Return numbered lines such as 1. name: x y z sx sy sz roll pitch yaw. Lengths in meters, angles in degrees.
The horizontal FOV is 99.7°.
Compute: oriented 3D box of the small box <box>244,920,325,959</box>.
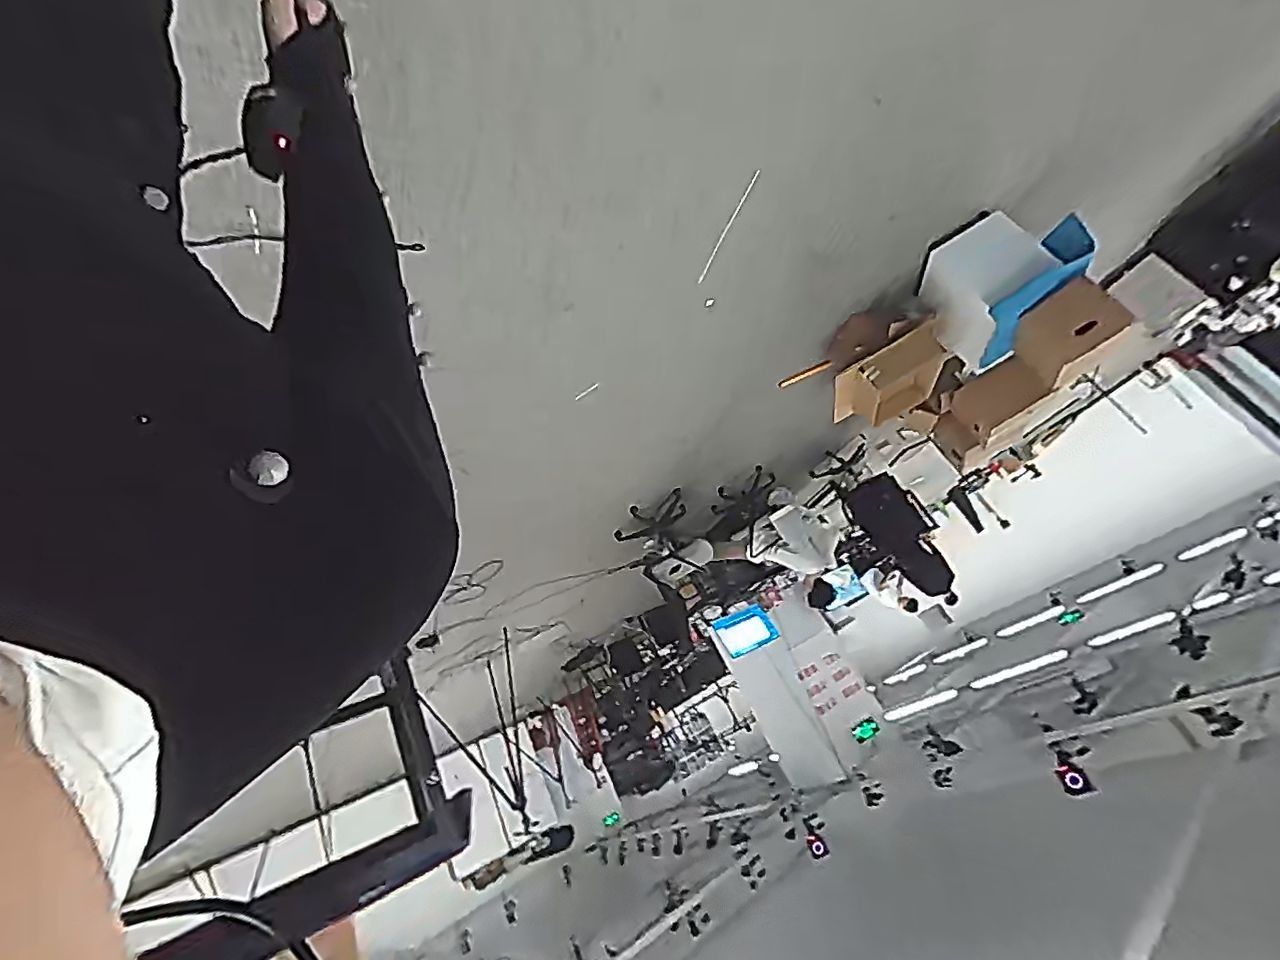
1. small box: -0.896 1.255 1.364 0.168 0.176 0.179 -12 154 -34
